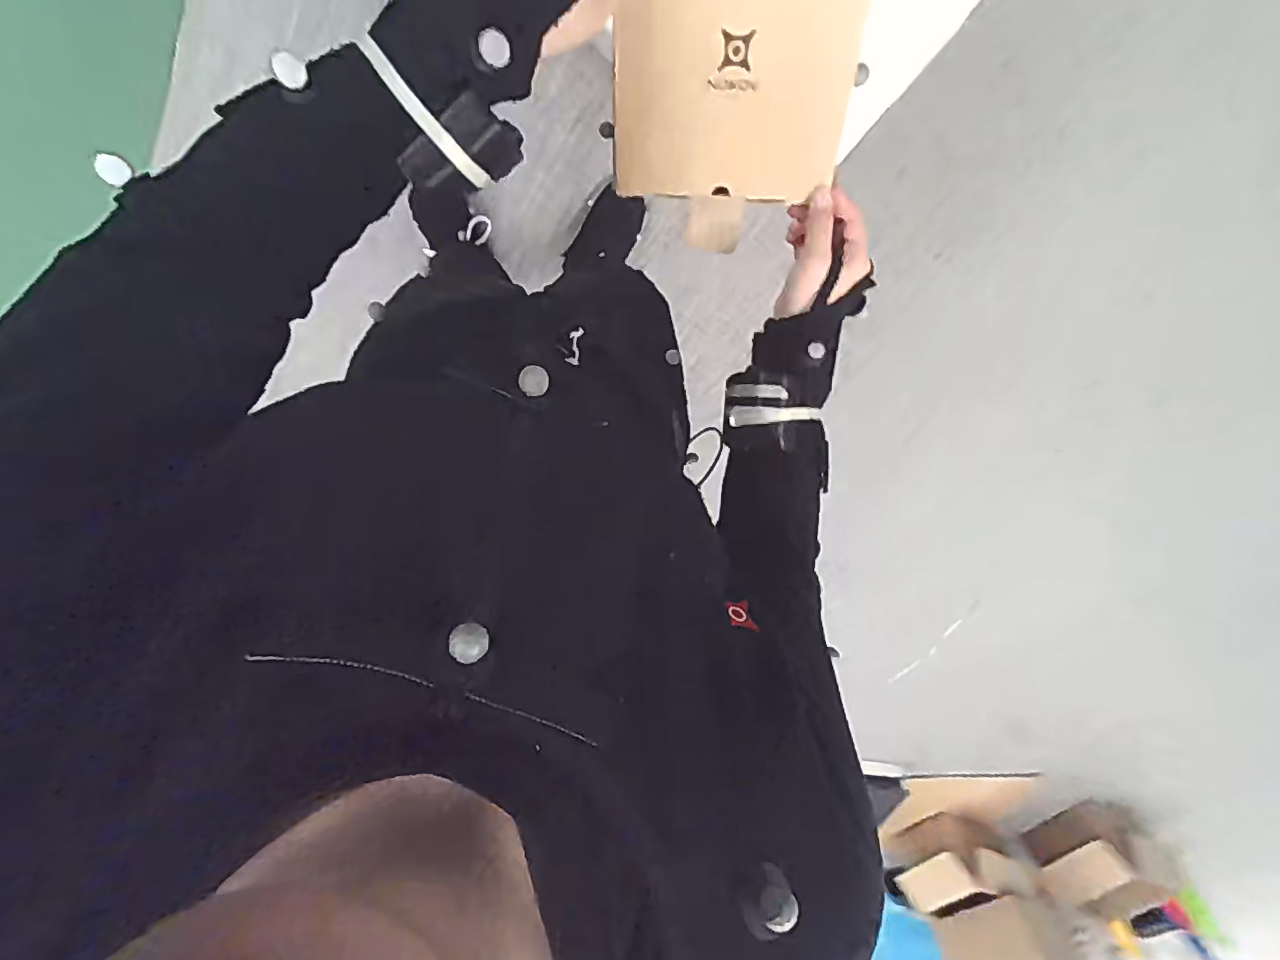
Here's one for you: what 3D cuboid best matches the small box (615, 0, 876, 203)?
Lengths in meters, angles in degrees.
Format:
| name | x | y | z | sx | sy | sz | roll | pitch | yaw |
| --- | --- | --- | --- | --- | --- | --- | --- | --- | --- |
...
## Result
| name | x | y | z | sx | sy | sz | roll | pitch | yaw |
| --- | --- | --- | --- | --- | --- | --- | --- | --- | --- |
| small box | 0.070 | -0.332 | 0.417 | 0.168 | 0.176 | 0.179 | 4 | 131 | 4 |
